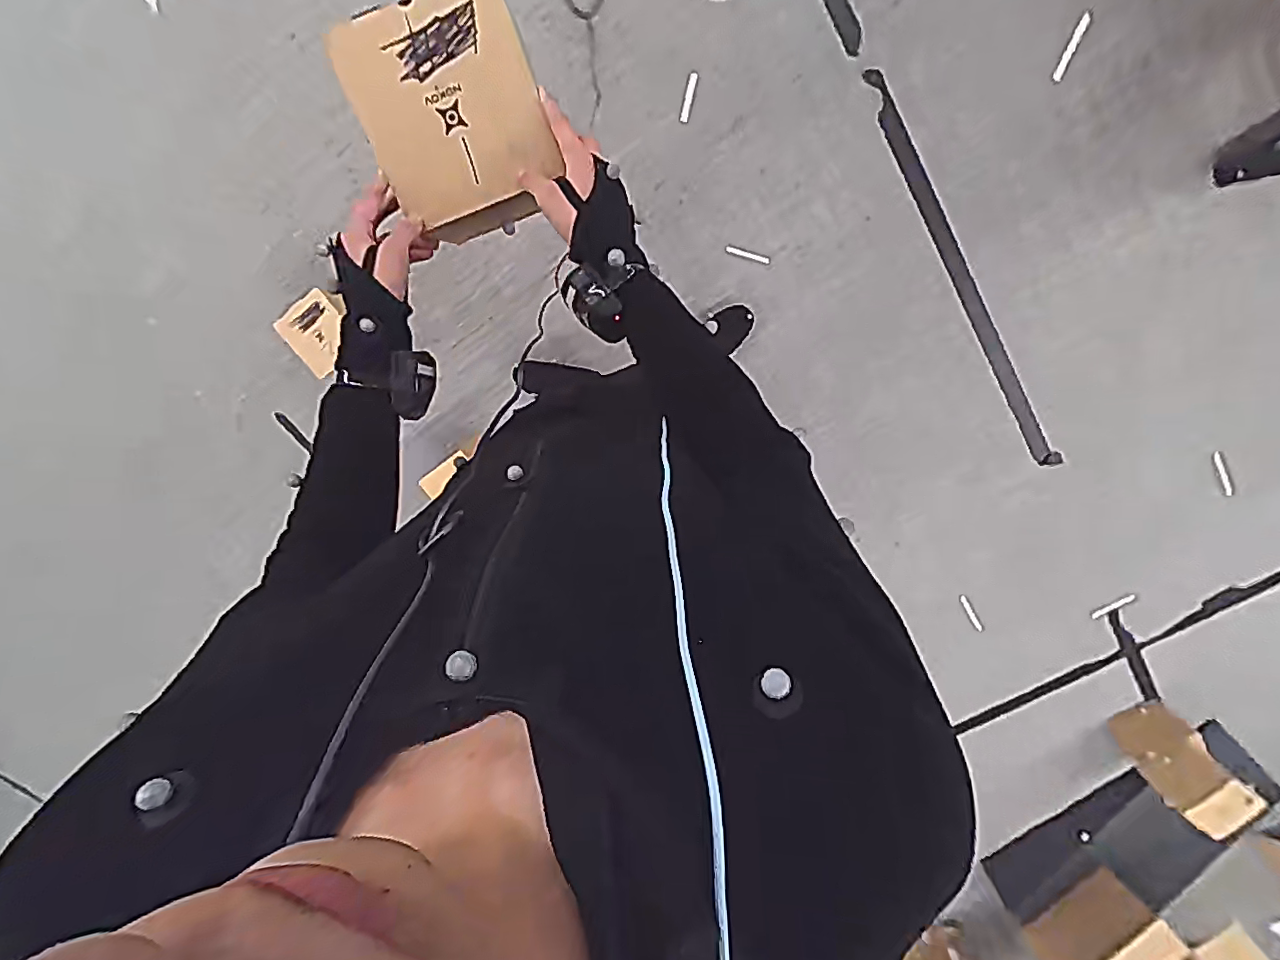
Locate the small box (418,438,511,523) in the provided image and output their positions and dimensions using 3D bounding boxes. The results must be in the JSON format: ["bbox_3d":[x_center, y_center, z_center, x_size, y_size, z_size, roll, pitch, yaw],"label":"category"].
[{"bbox_3d":[-0.510,-0.009,1.598,0.168,0.176,0.179,-34,106,12],"label":"small box"}]

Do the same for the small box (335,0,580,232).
[{"bbox_3d":[-0.169,-0.378,0.568,0.168,0.176,0.179,-18,112,4],"label":"small box"}]
